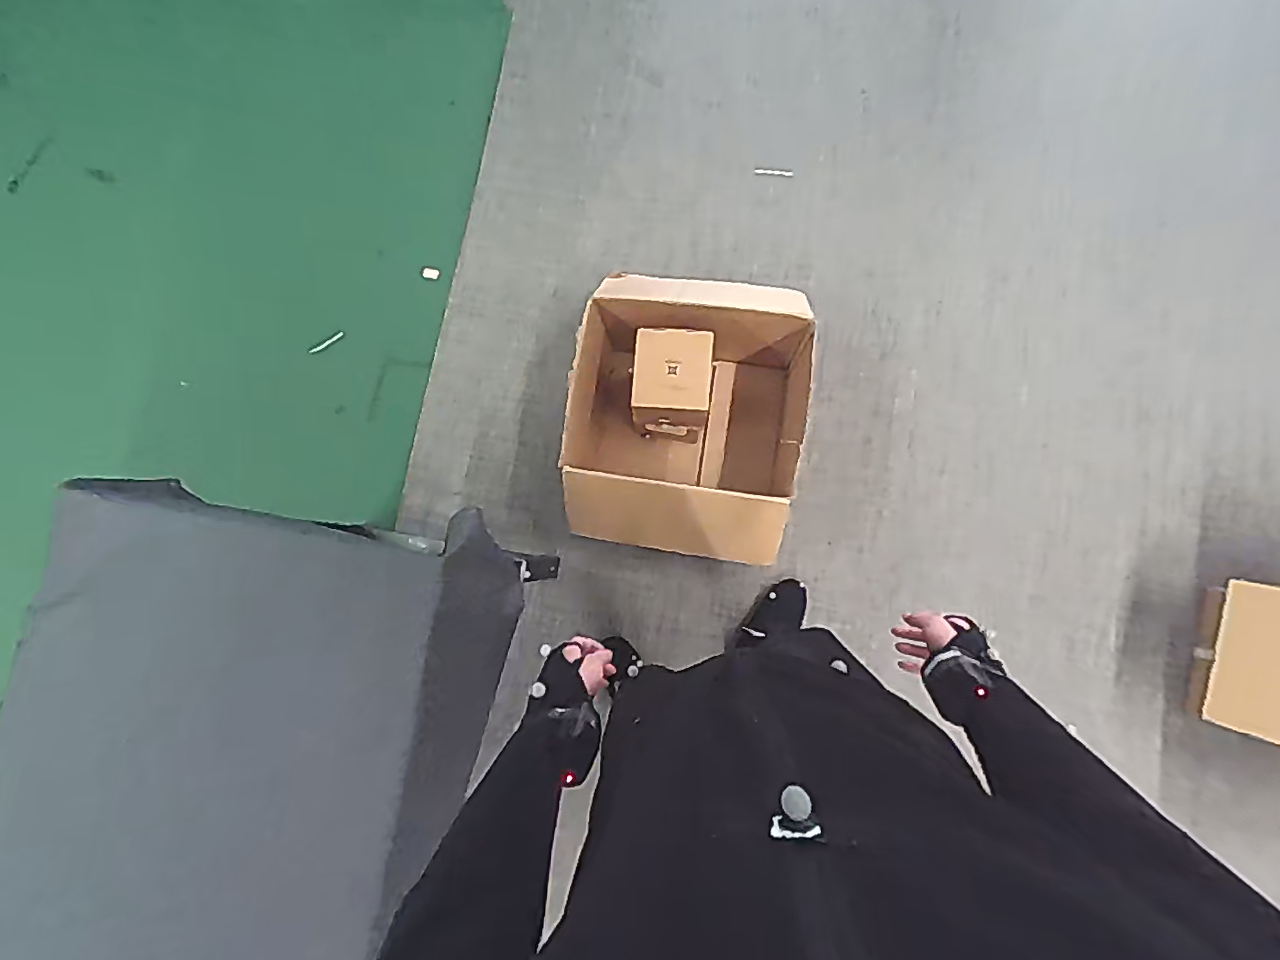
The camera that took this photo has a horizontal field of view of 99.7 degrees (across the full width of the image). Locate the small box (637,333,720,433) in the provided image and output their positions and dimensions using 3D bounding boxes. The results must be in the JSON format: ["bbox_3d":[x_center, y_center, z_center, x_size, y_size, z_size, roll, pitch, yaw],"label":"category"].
[{"bbox_3d":[0.086,-0.213,1.219,0.168,0.176,0.179,4,83,4],"label":"small box"}]
